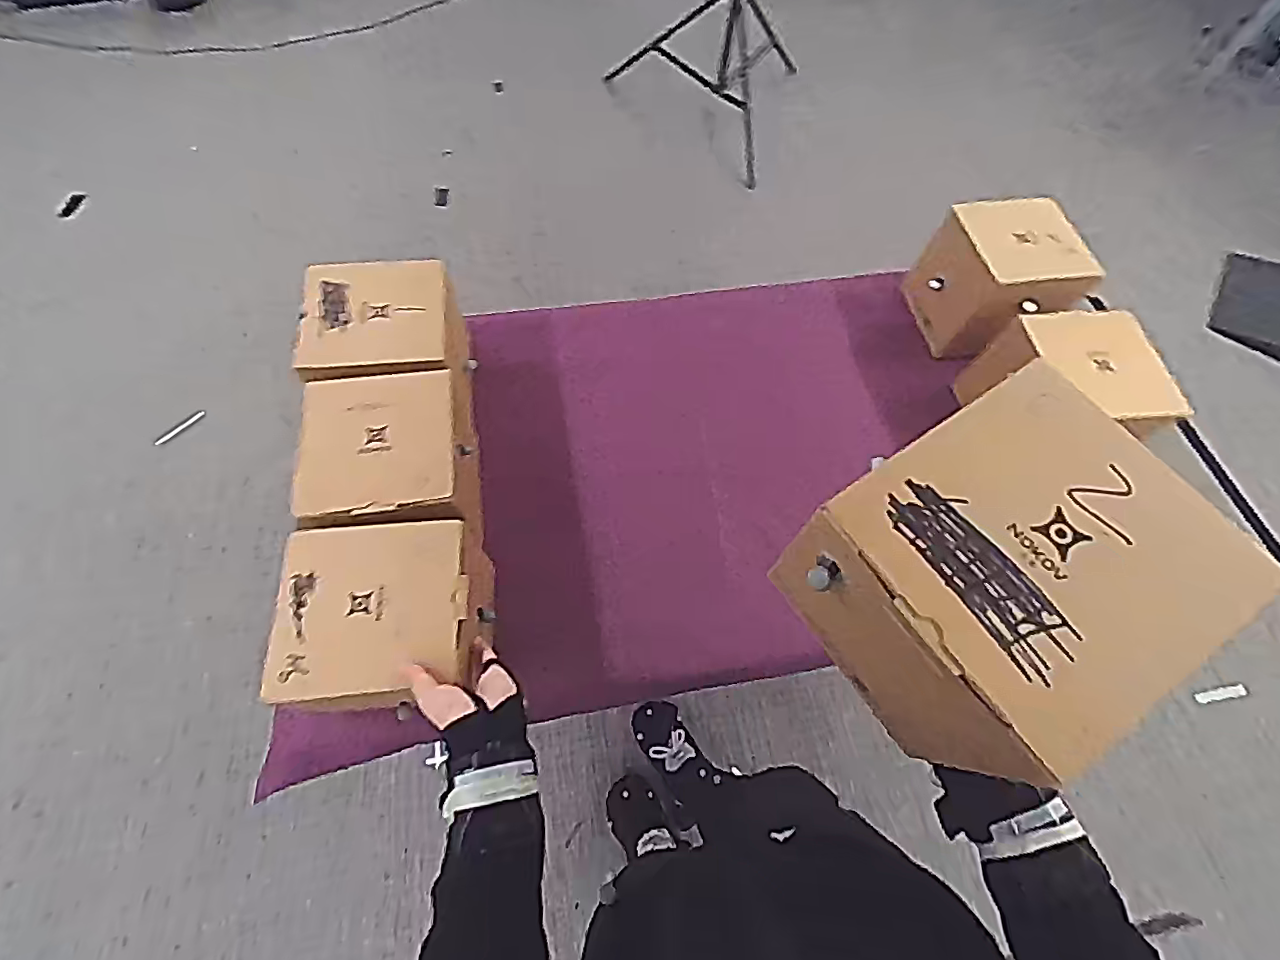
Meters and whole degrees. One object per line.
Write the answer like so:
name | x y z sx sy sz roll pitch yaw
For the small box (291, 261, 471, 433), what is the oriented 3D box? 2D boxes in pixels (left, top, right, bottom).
small box | -0.343 -0.176 0.750 0.179 0.176 0.168 -6 67 -8

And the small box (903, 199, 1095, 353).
small box | 0.559 -0.324 0.876 0.179 0.176 0.168 -7 66 -8

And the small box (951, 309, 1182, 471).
small box | 0.599 -0.122 0.789 0.168 0.176 0.179 -4 64 -5

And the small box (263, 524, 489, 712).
small box | -0.266 0.157 0.597 0.179 0.176 0.168 -4 64 -7
